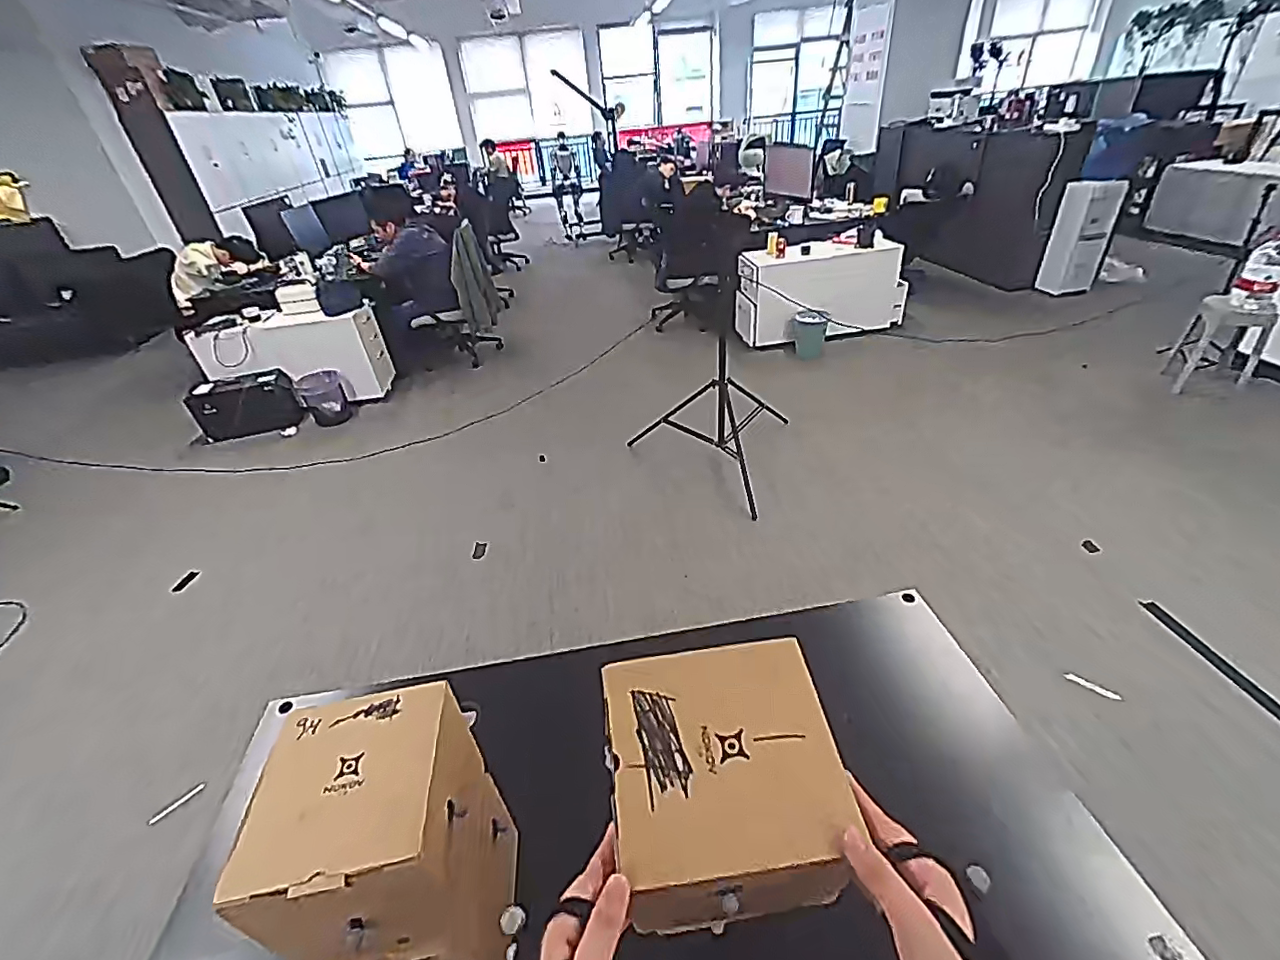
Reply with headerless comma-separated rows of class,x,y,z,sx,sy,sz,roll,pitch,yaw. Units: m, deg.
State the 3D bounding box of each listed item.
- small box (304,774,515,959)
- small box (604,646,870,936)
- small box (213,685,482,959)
small box,-0.247,0.483,0.632,0.168,0.176,0.179,-8,35,-3
small box,0.068,0.271,0.472,0.179,0.176,0.168,-7,43,-3
small box,-0.265,0.344,0.546,0.168,0.176,0.179,-9,35,-5
